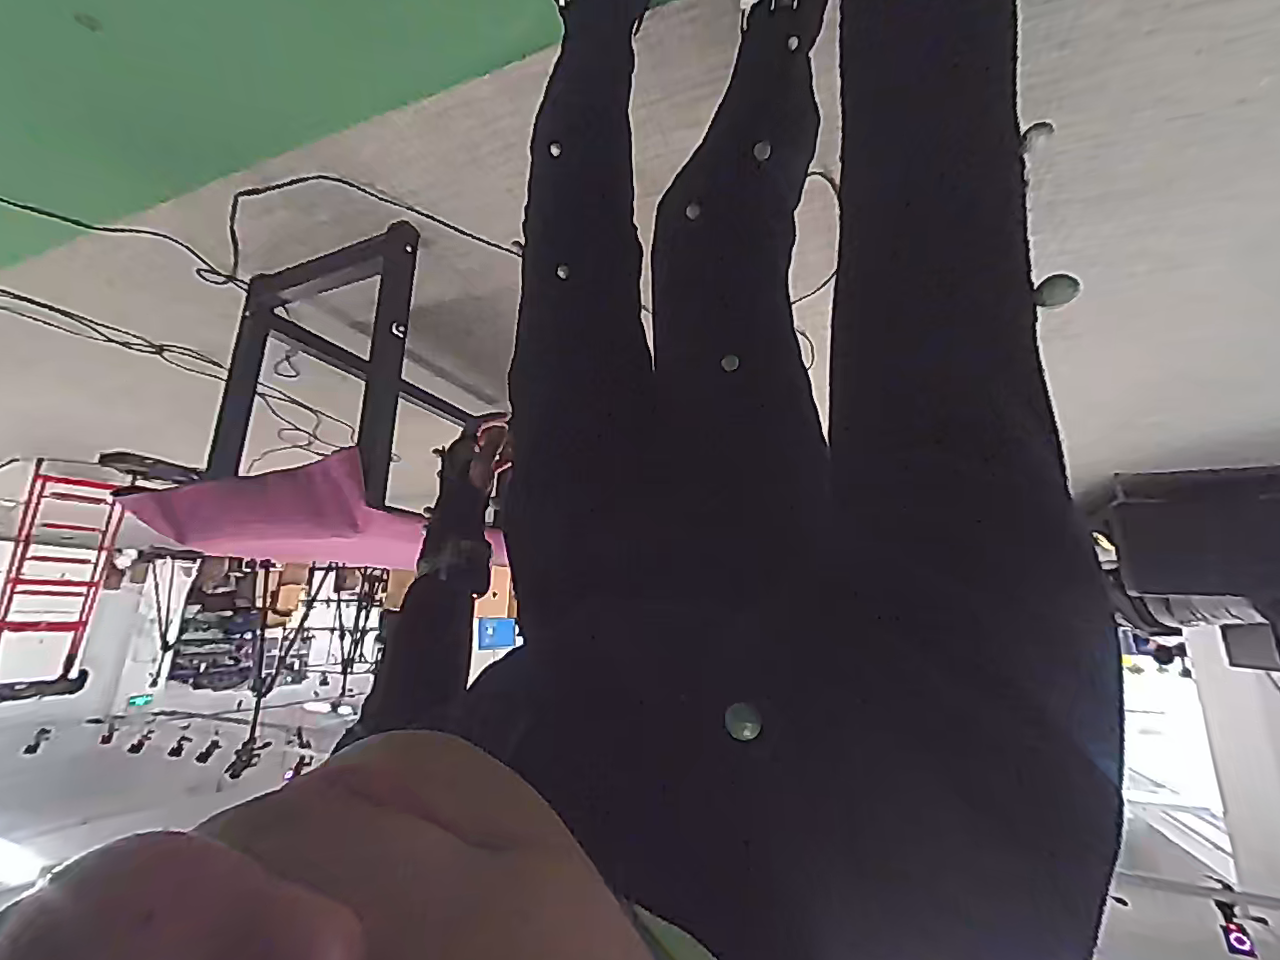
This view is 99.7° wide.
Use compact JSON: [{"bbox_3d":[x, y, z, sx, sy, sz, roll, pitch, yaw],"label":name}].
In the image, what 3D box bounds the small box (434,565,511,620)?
[{"bbox_3d":[-0.533,0.361,1.738,0.168,0.176,0.179,-5,165,23],"label":"small box"}]
